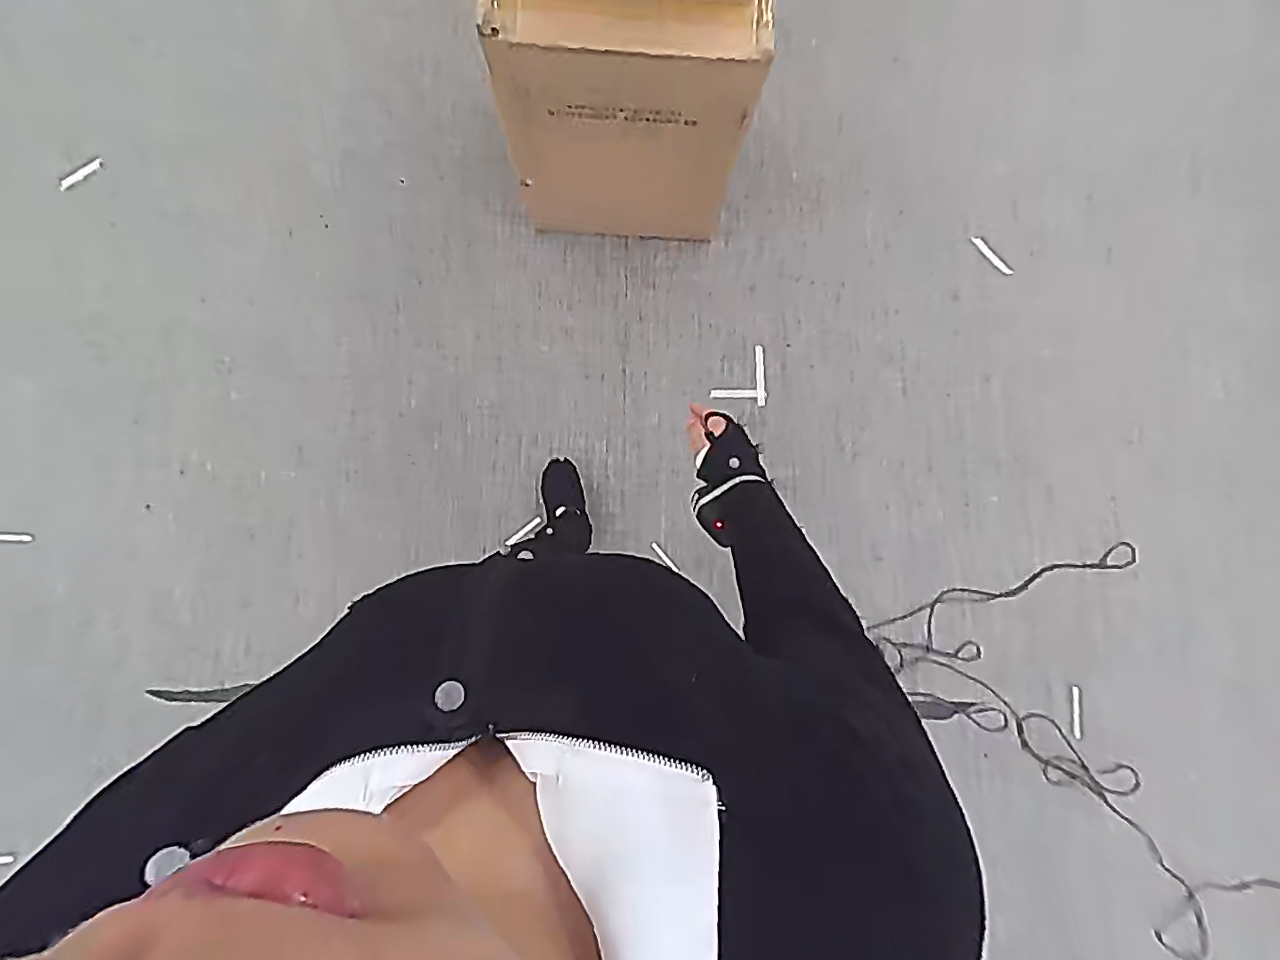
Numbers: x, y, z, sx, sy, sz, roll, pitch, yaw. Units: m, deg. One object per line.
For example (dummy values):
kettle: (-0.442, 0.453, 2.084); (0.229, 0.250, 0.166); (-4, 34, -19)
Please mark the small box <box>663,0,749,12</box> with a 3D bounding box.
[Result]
small box: (0.117, -0.930, 0.887); (0.168, 0.176, 0.179); (2, 85, -1)
